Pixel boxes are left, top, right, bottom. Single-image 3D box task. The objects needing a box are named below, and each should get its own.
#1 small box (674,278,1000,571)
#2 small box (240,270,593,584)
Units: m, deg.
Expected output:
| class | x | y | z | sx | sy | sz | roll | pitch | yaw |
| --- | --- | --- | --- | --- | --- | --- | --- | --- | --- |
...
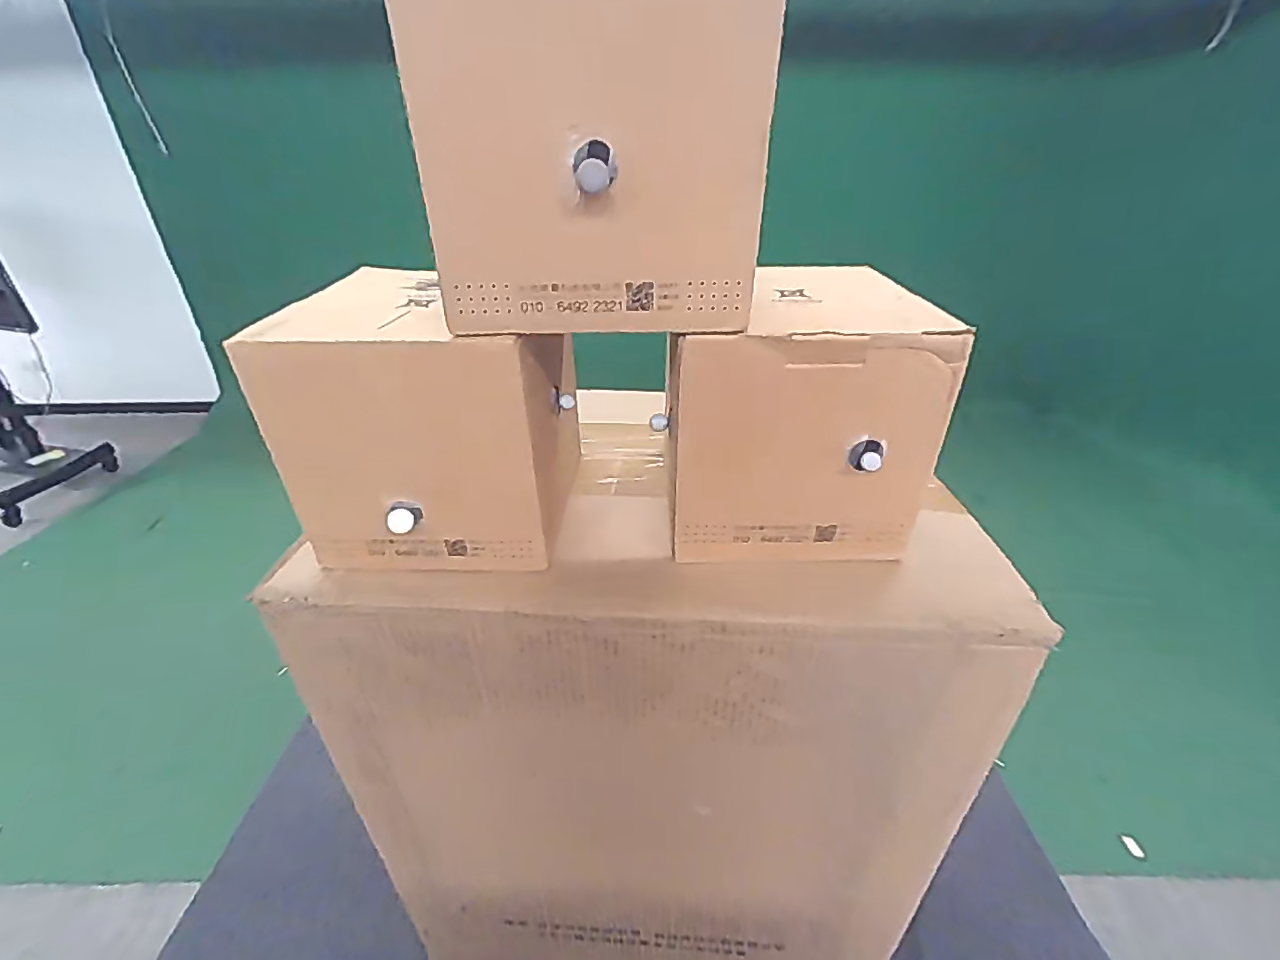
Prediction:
| class | x | y | z | sx | sy | sz | roll | pitch | yaw |
| --- | --- | --- | --- | --- | --- | --- | --- | --- | --- |
| small box | 0.116 | -0.047 | 0.407 | 0.168 | 0.176 | 0.179 | 1 | 32 | -2 |
| small box | -0.129 | -0.048 | 0.397 | 0.168 | 0.176 | 0.179 | 2 | 33 | 5 |
